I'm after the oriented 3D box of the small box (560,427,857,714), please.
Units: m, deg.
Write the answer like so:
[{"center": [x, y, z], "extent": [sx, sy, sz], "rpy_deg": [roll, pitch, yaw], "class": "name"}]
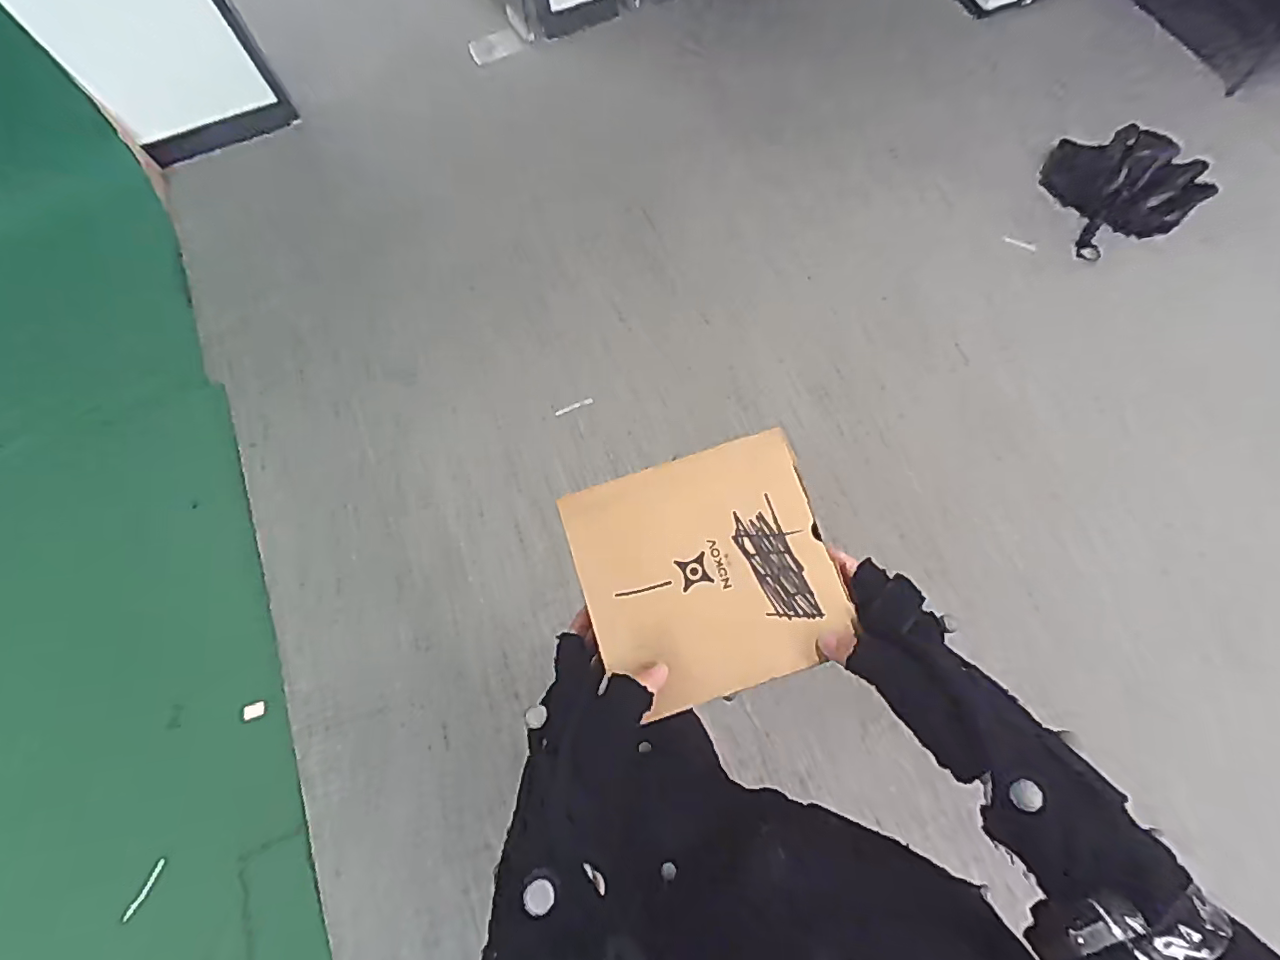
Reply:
[{"center": [0.048, 0.077, 0.462], "extent": [0.179, 0.176, 0.168], "rpy_deg": [-18, 76, -1], "class": "small box"}]
